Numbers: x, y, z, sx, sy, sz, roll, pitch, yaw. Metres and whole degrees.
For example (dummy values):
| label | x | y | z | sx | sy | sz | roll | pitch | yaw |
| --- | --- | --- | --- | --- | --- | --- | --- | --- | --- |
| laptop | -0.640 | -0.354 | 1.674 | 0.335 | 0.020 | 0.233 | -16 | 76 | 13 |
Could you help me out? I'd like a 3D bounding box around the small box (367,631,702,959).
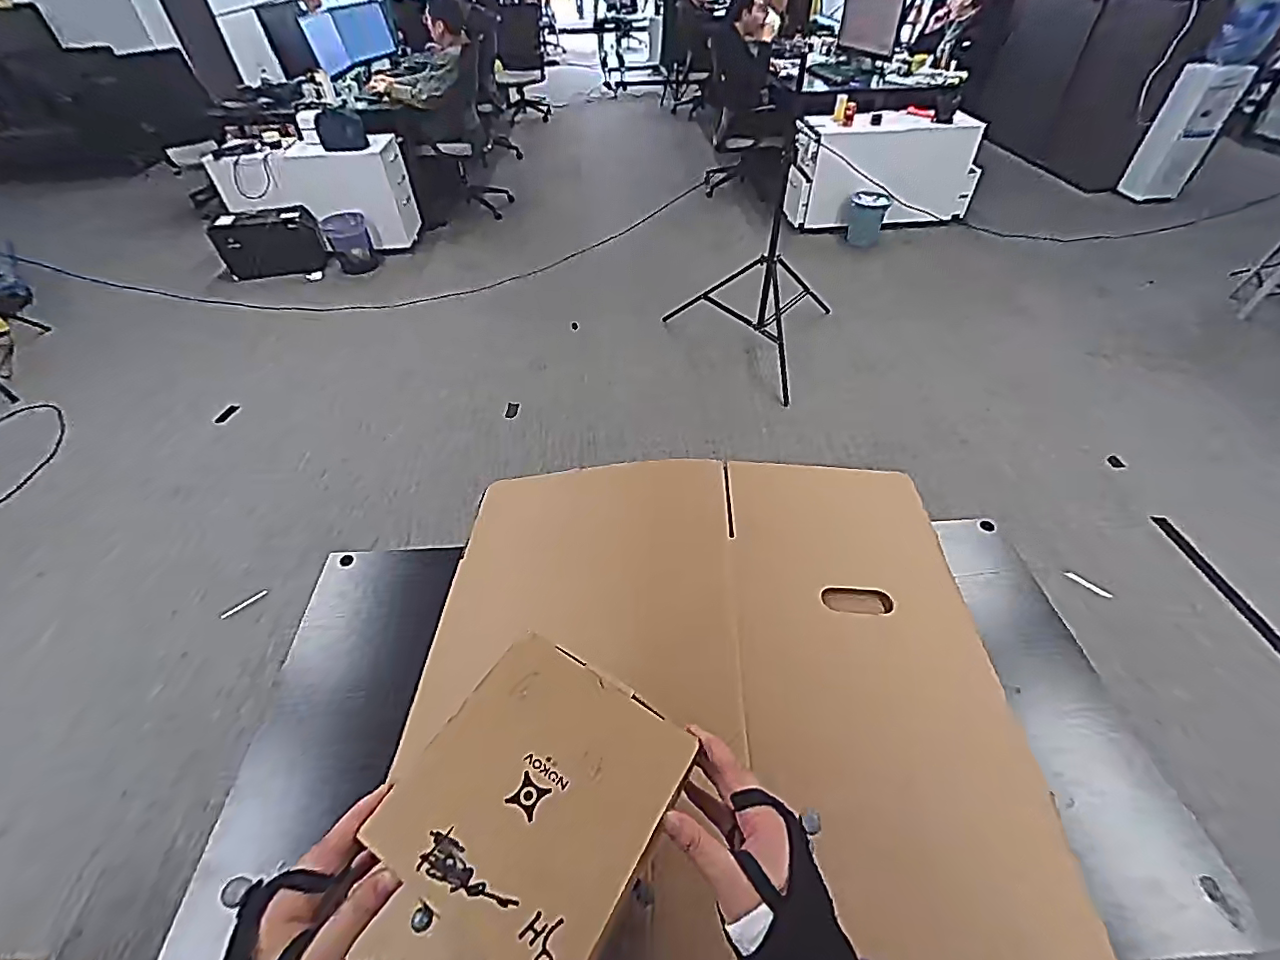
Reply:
| label | x | y | z | sx | sy | sz | roll | pitch | yaw |
| --- | --- | --- | --- | --- | --- | --- | --- | --- | --- |
| small box | -0.070 | 0.264 | 0.432 | 0.168 | 0.176 | 0.179 | 25 | 50 | 22 |
